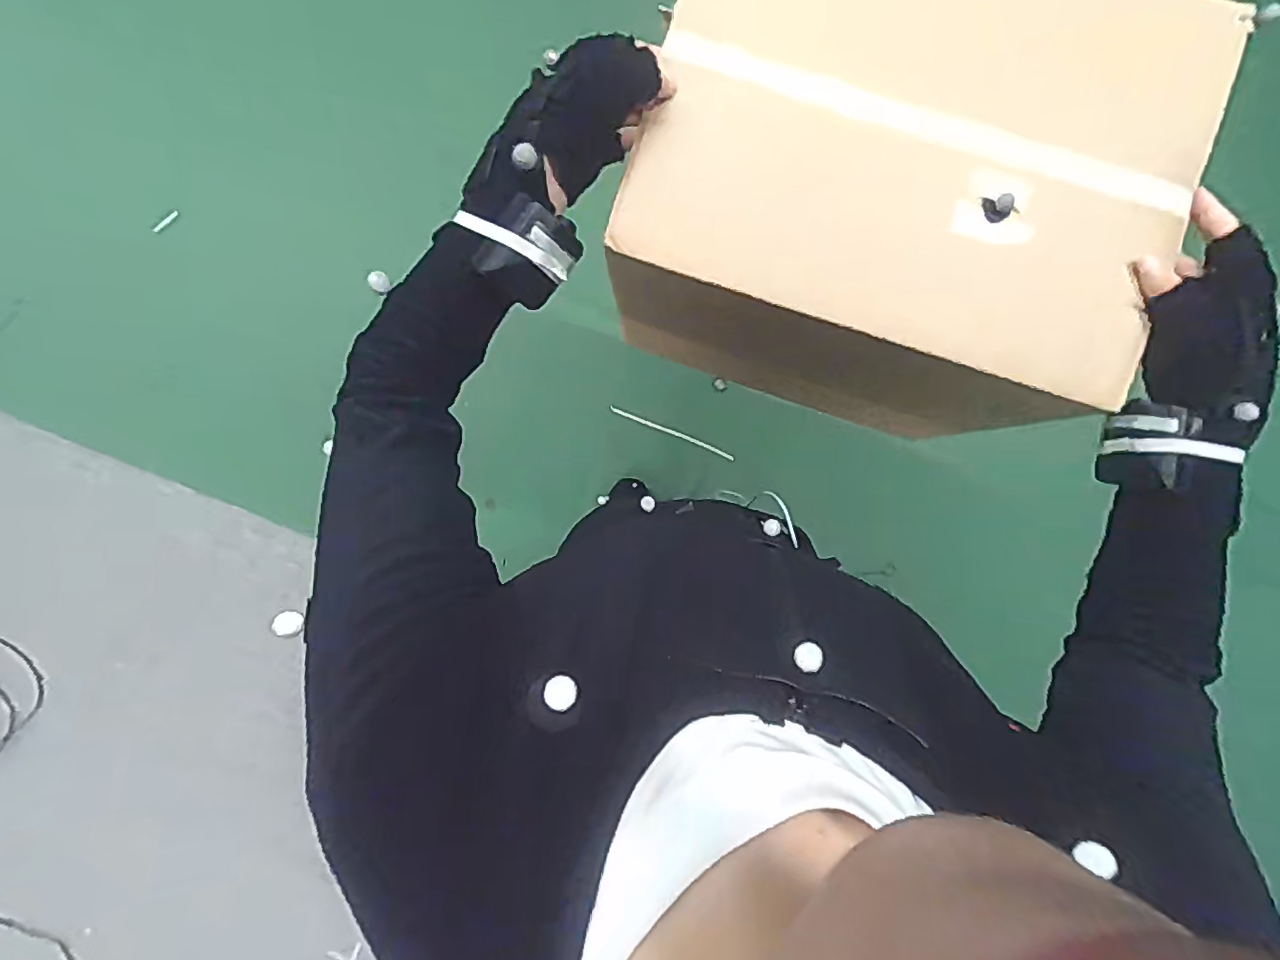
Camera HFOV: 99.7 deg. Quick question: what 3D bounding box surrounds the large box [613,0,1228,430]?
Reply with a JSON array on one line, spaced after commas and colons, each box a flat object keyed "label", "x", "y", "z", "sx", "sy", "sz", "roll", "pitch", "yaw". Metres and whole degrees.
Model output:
[{"label": "large box", "x": 0.212, "y": -0.267, "z": 0.560, "sx": 0.408, "sy": 0.320, "sz": 0.320, "roll": 18, "pitch": 91, "yaw": 1}]
